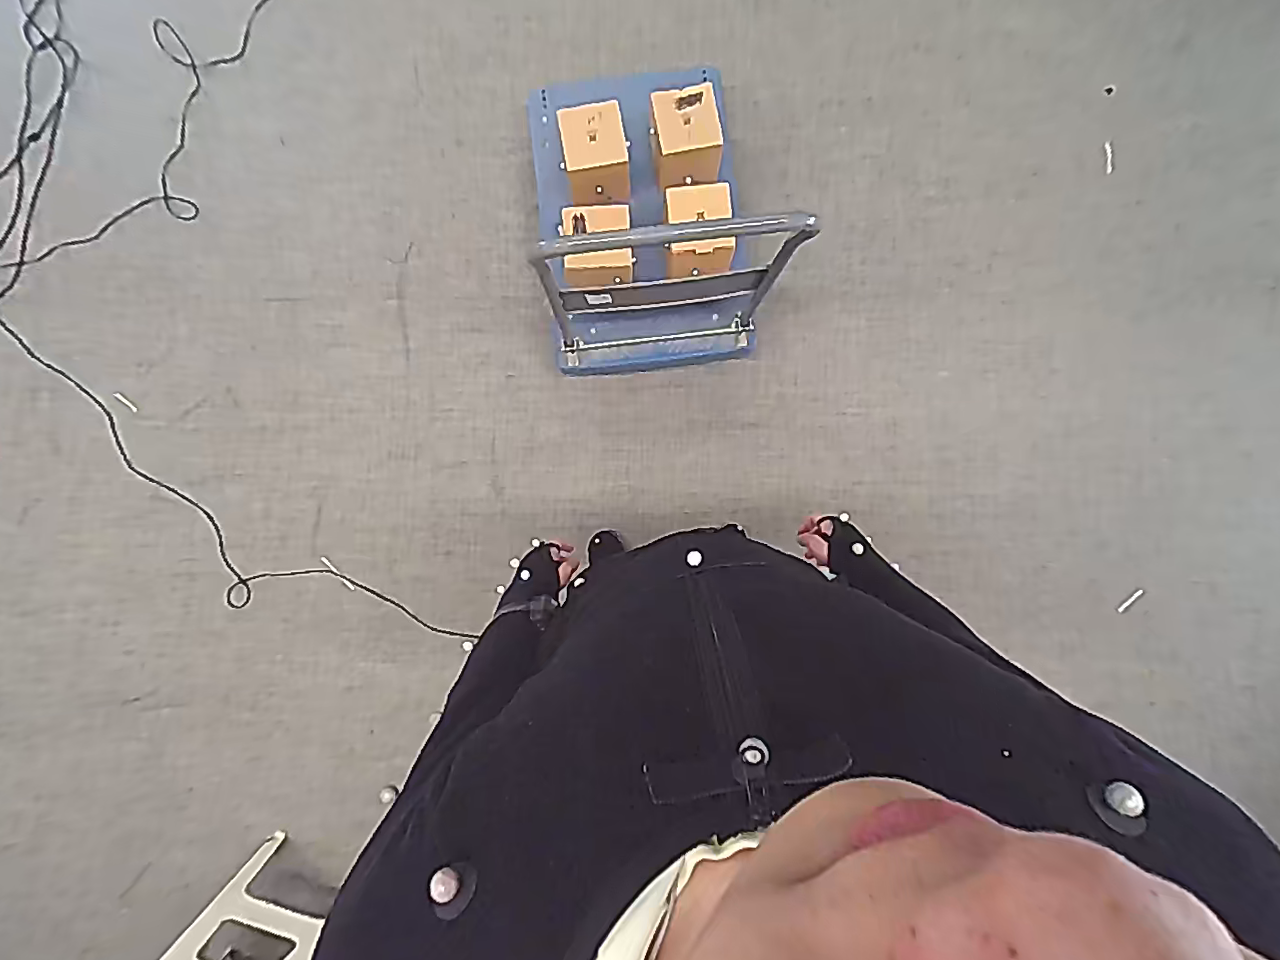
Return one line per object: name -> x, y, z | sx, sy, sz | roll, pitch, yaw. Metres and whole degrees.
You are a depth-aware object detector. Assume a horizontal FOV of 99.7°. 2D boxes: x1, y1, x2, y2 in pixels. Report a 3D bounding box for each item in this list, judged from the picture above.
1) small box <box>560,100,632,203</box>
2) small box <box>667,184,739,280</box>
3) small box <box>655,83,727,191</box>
small box -> -0.114, -0.888, 1.483 | 0.168, 0.176, 0.179 | -10, 86, -1
small box -> 0.164, -0.666, 1.464 | 0.168, 0.176, 0.179 | -5, 86, 0
small box -> 0.133, -0.934, 1.484 | 0.168, 0.176, 0.179 | -10, 87, 1
